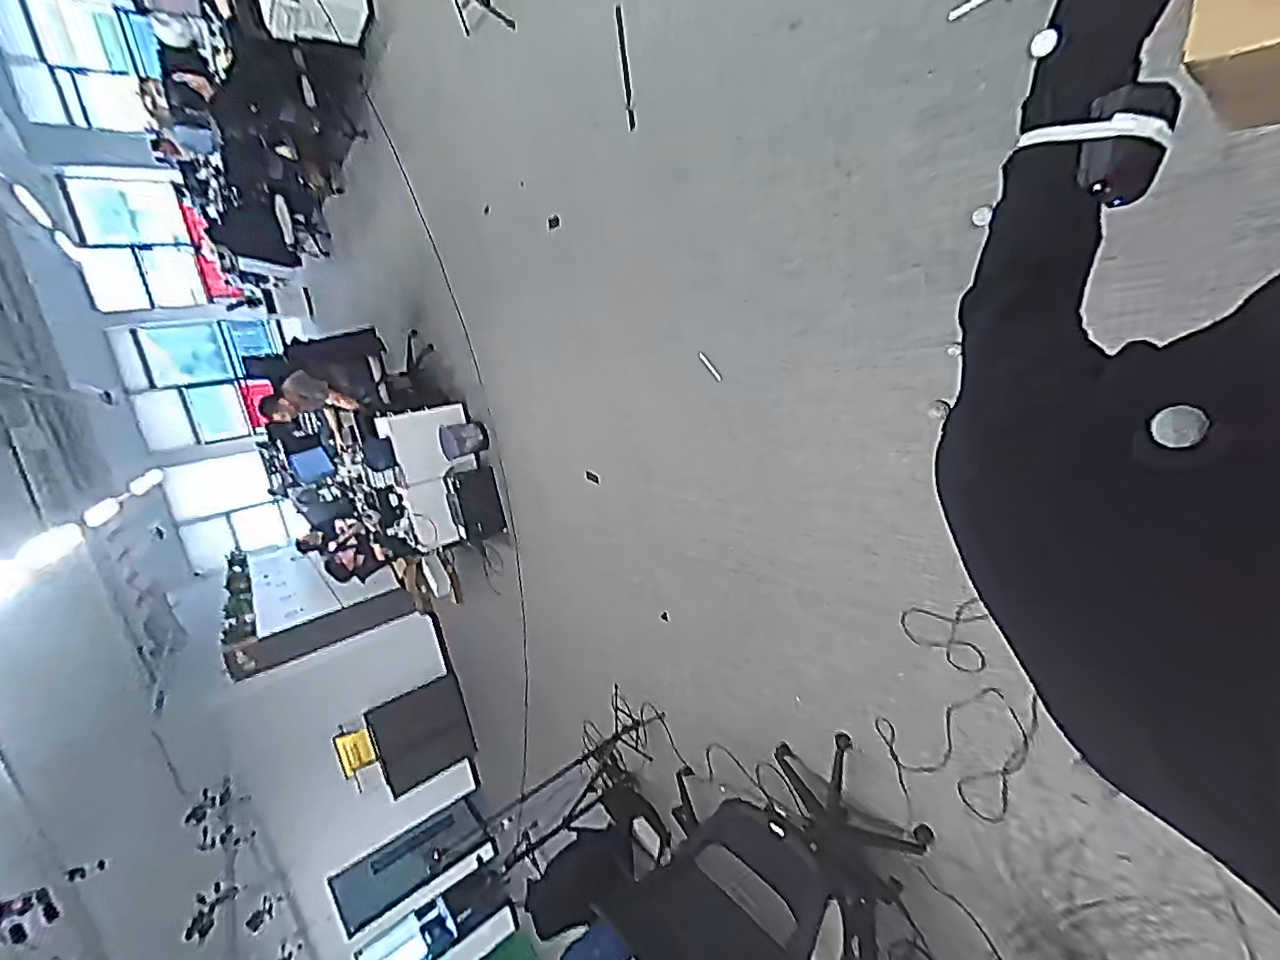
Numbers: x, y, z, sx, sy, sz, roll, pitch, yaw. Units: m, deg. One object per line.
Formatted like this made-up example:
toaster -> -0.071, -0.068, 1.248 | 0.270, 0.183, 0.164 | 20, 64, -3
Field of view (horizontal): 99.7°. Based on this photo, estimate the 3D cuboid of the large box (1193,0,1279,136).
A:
large box -> 0.587, -0.402, 0.252 | 0.408, 0.320, 0.320 | 18, 119, 45
